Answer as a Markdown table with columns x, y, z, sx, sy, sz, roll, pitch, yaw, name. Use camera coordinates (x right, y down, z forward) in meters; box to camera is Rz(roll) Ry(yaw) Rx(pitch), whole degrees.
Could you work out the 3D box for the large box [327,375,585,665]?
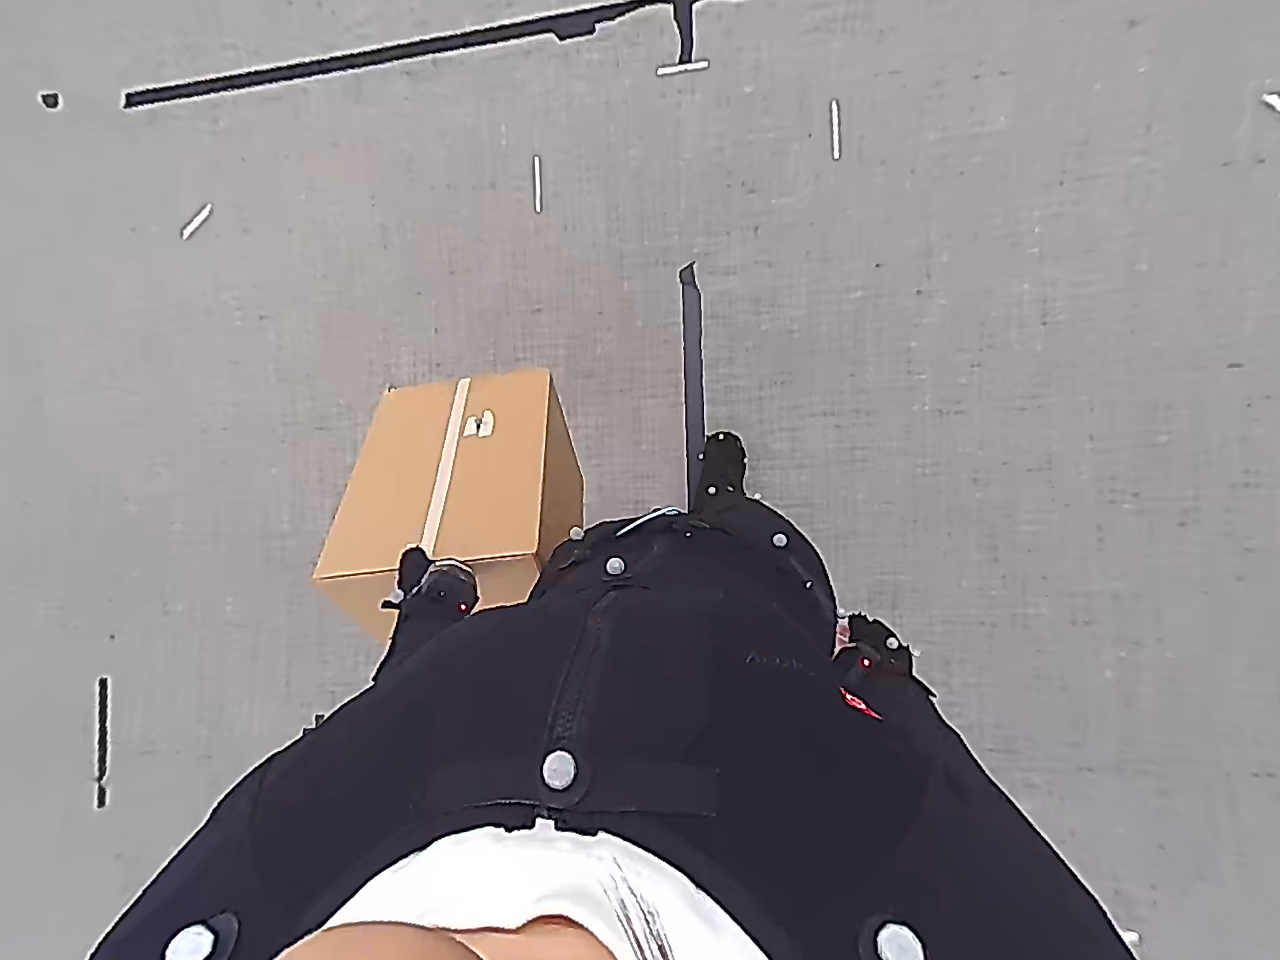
| x | y | z | sx | sy | sz | roll | pitch | yaw | name |
| --- | --- | --- | --- | --- | --- | --- | --- | --- | --- |
| -0.283 | 0.070 | 0.985 | 0.320 | 0.320 | 0.408 | -7 | 47 | 3 | large box |
